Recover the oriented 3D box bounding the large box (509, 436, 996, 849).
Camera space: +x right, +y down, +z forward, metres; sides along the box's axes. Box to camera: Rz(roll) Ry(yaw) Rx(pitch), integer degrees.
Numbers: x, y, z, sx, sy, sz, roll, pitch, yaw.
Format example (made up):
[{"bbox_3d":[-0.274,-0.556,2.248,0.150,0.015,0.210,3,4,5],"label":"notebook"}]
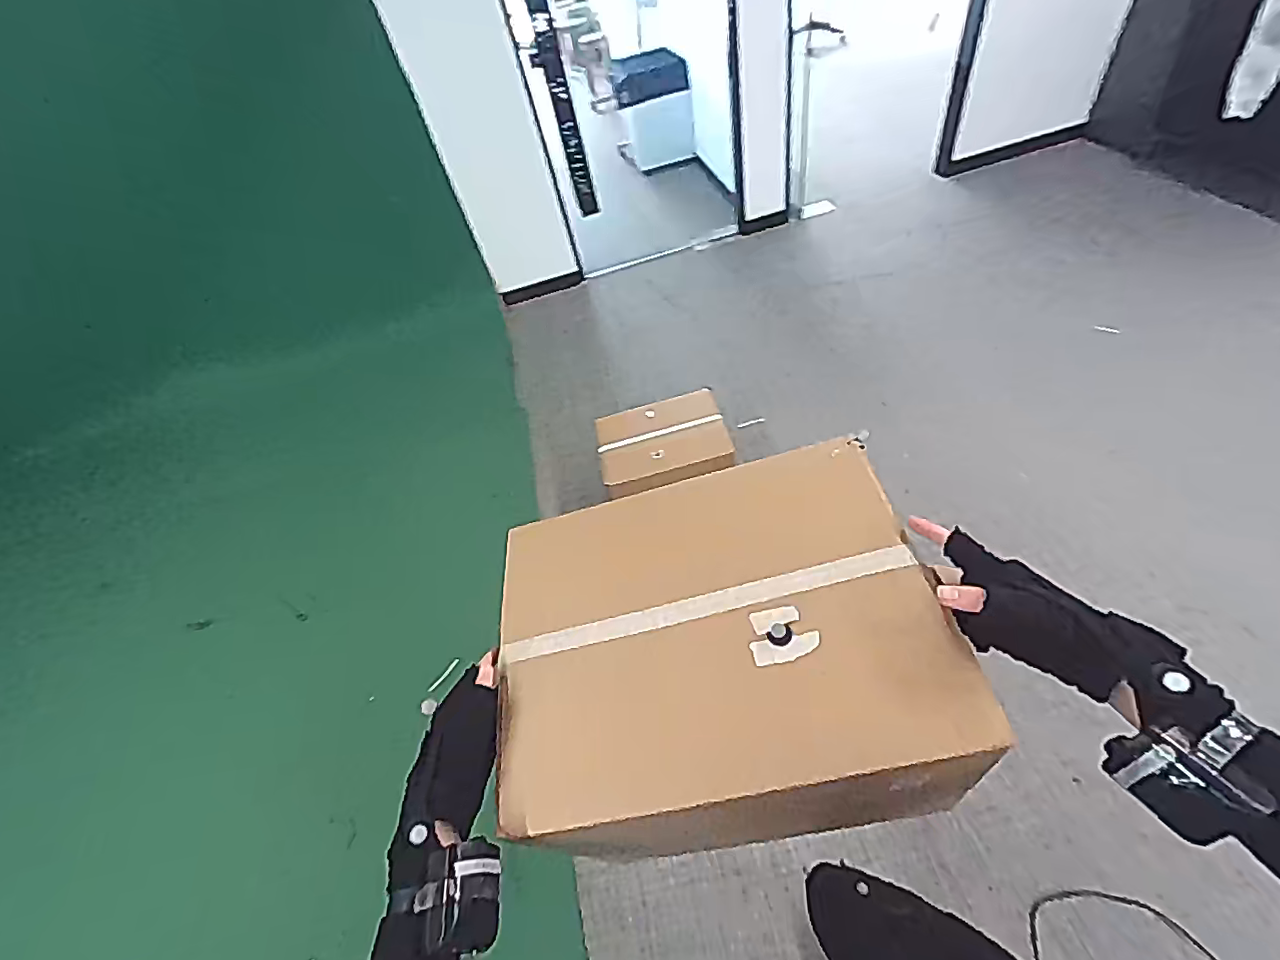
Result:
[{"bbox_3d":[0.099,0.206,0.634,0.408,0.320,0.320,-14,50,8],"label":"large box"}]
